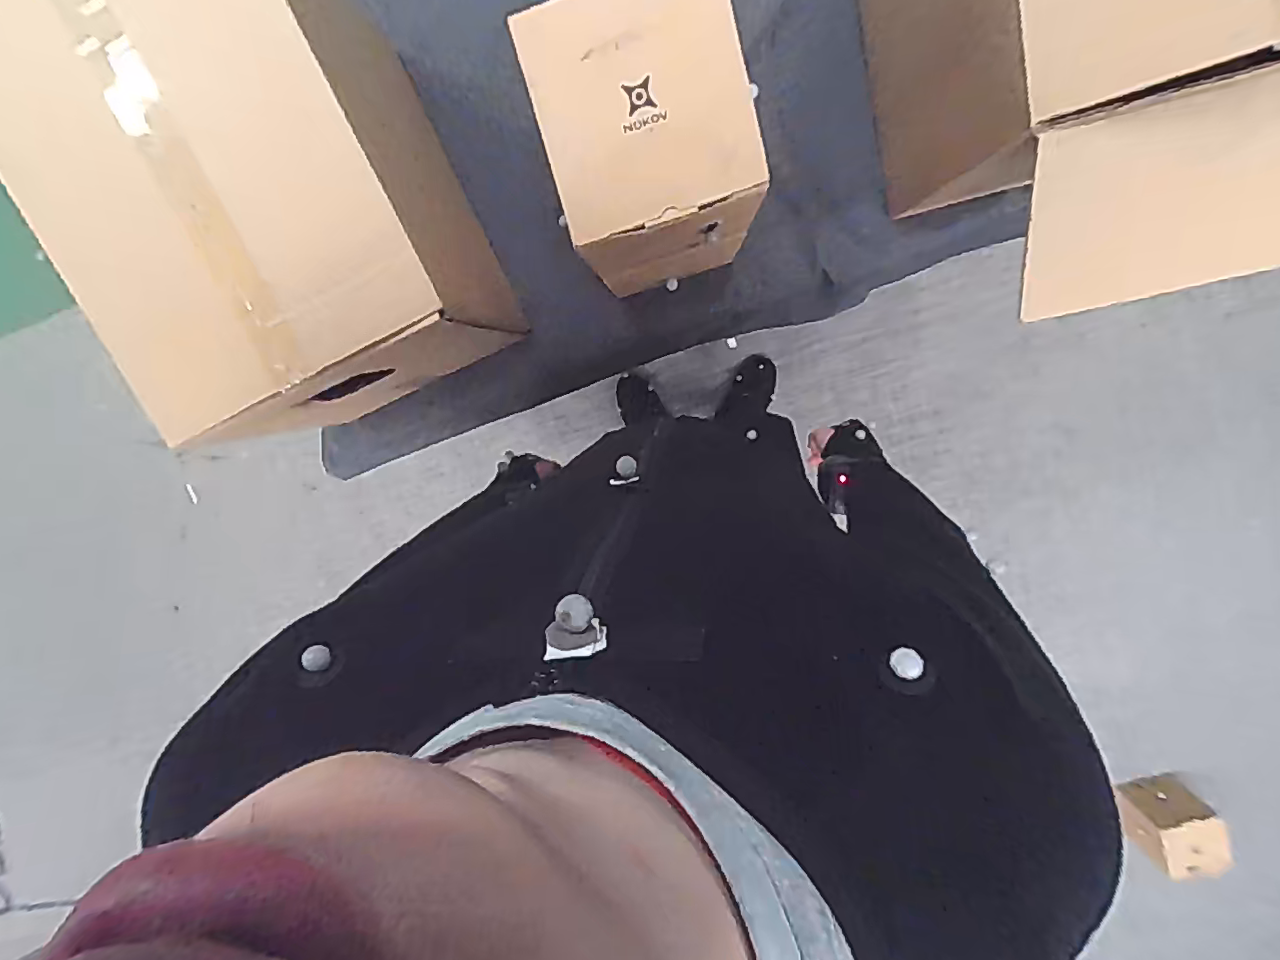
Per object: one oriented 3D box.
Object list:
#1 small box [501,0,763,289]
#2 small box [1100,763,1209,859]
[{"bbox_3d":[0.001,-0.284,0.491,0.168,0.176,0.179,-16,101,7],"label":"small box"},{"bbox_3d":[1.546,0.991,1.637,0.168,0.176,0.179,-20,101,8],"label":"small box"}]
